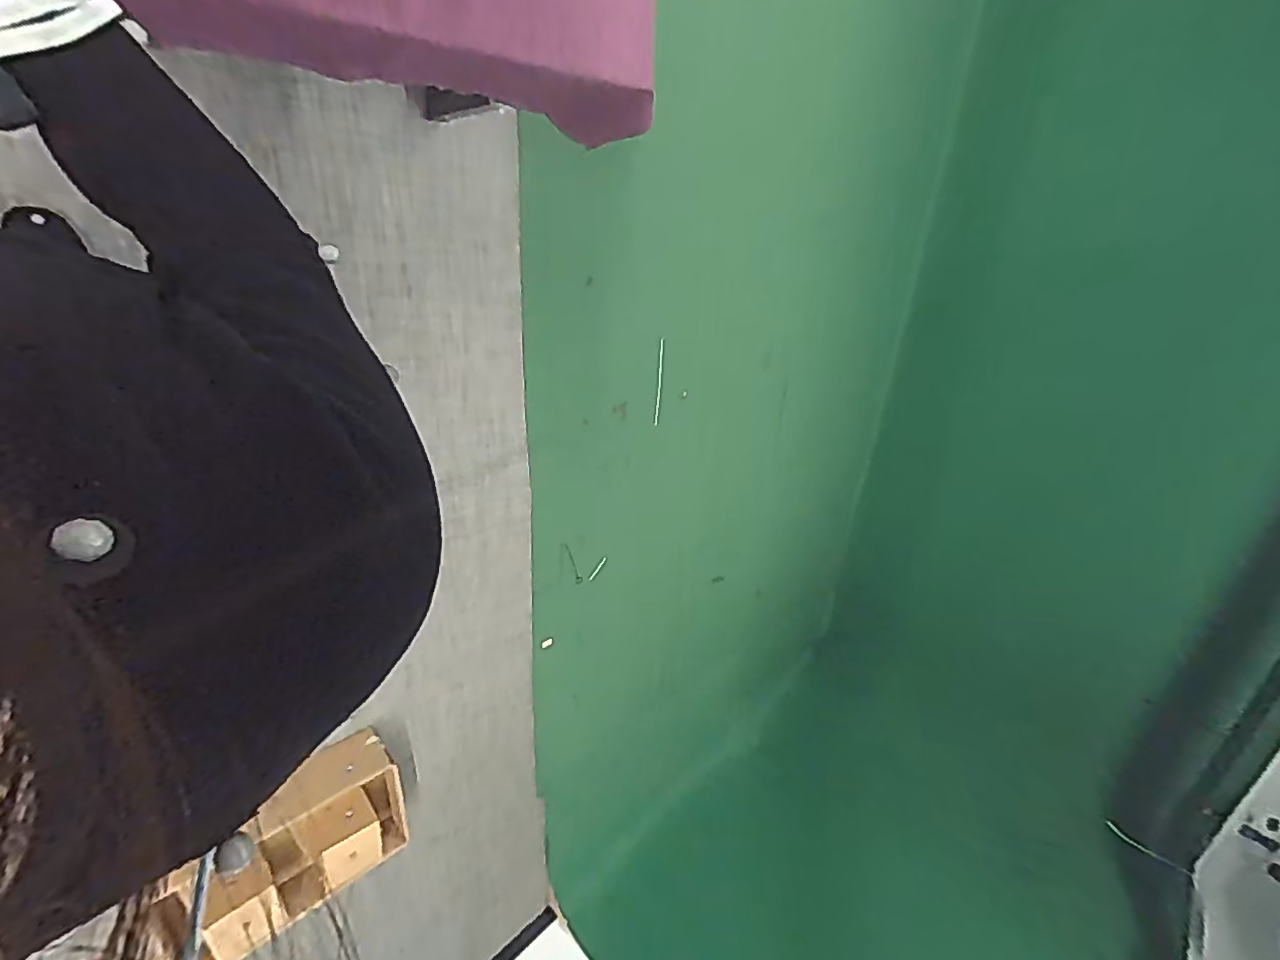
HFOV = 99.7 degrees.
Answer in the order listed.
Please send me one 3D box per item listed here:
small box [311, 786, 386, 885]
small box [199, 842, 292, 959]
[{"bbox_3d":[-0.932,1.120,1.725,0.168,0.176,0.179,-14,119,-42],"label":"small box"},{"bbox_3d":[-1.128,1.186,1.545,0.168,0.176,0.179,-19,122,-40],"label":"small box"}]
